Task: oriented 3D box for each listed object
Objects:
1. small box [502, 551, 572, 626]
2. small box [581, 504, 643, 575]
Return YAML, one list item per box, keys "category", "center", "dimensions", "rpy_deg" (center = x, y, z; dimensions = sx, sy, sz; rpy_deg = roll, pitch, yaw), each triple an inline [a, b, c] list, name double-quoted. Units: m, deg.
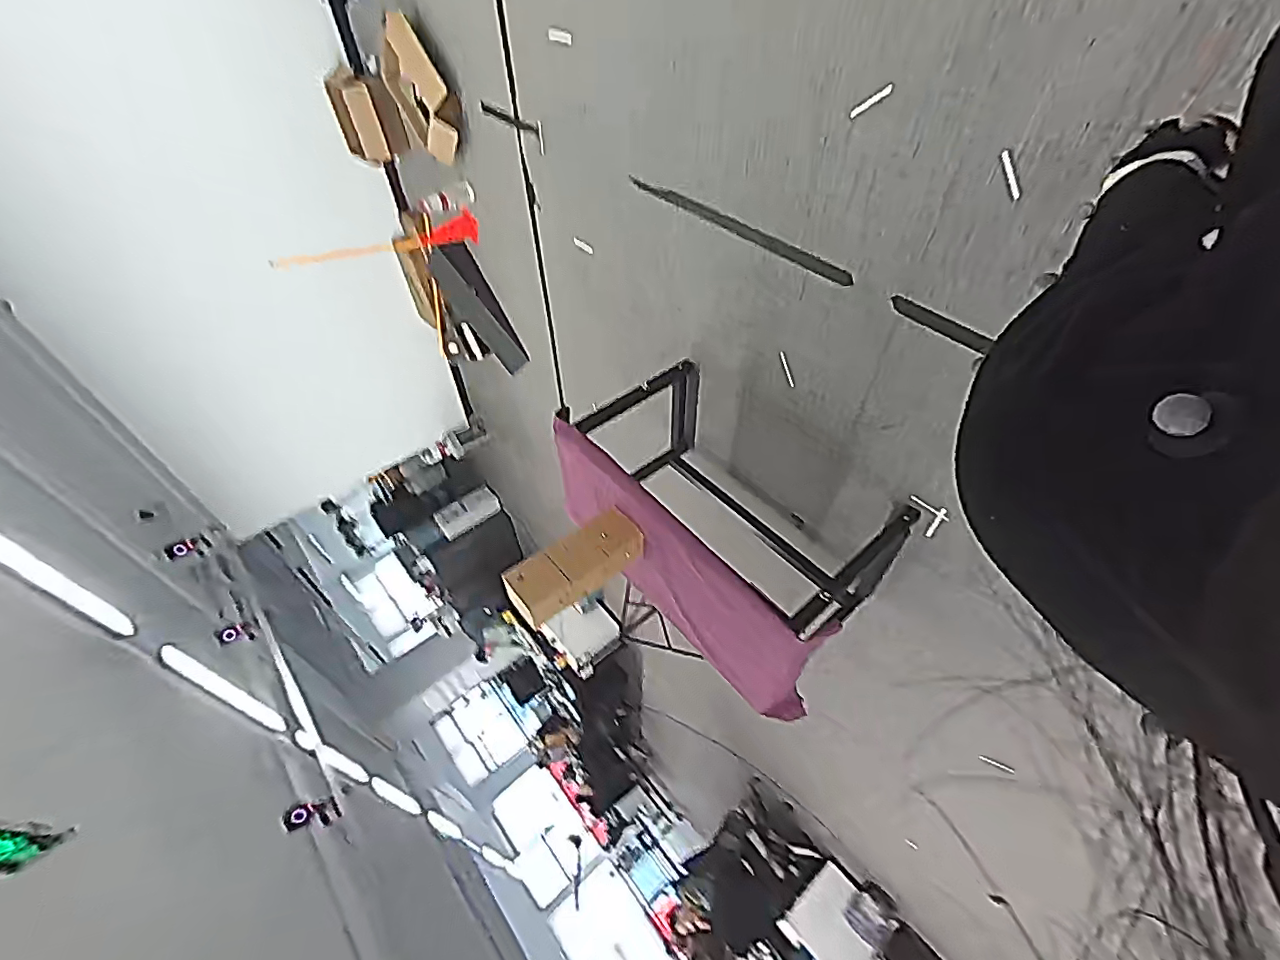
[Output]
- category: "small box"
  center: [-0.361, 0.375, 1.919]
  dimensions: [0.179, 0.176, 0.168]
  rpy_deg: [42, 151, 28]
- category: "small box"
  center: [-0.104, 0.220, 2.056]
  dimensions: [0.179, 0.176, 0.168]
  rpy_deg: [43, 151, 28]
